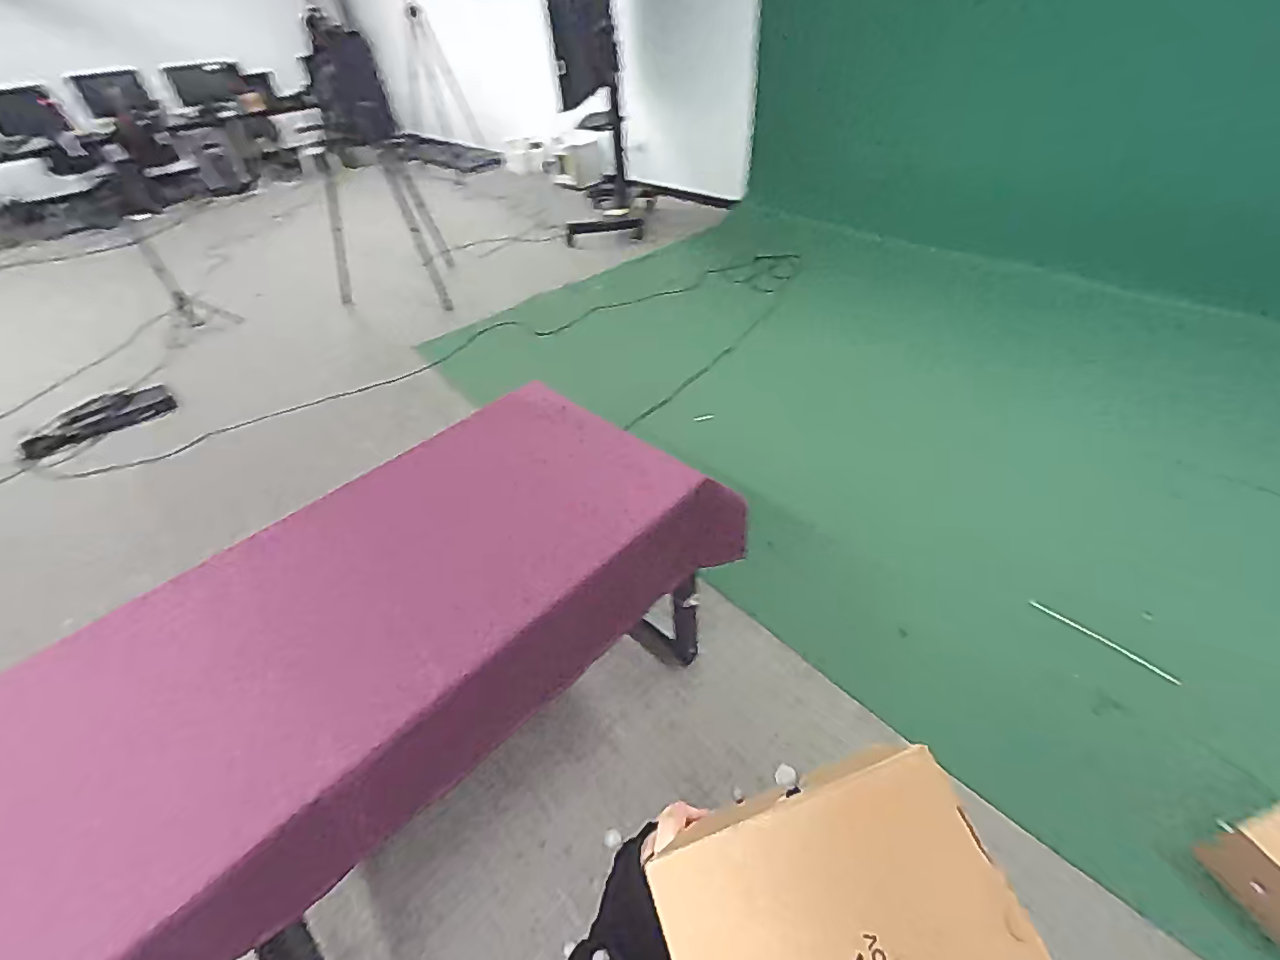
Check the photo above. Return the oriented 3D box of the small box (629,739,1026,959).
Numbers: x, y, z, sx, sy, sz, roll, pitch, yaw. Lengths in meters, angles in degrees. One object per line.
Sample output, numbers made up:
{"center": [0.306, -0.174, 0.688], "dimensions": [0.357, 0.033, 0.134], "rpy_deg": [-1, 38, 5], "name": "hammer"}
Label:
{"center": [0.116, 0.284, 0.340], "dimensions": [0.179, 0.176, 0.168], "rpy_deg": [-24, 61, 0], "name": "small box"}
